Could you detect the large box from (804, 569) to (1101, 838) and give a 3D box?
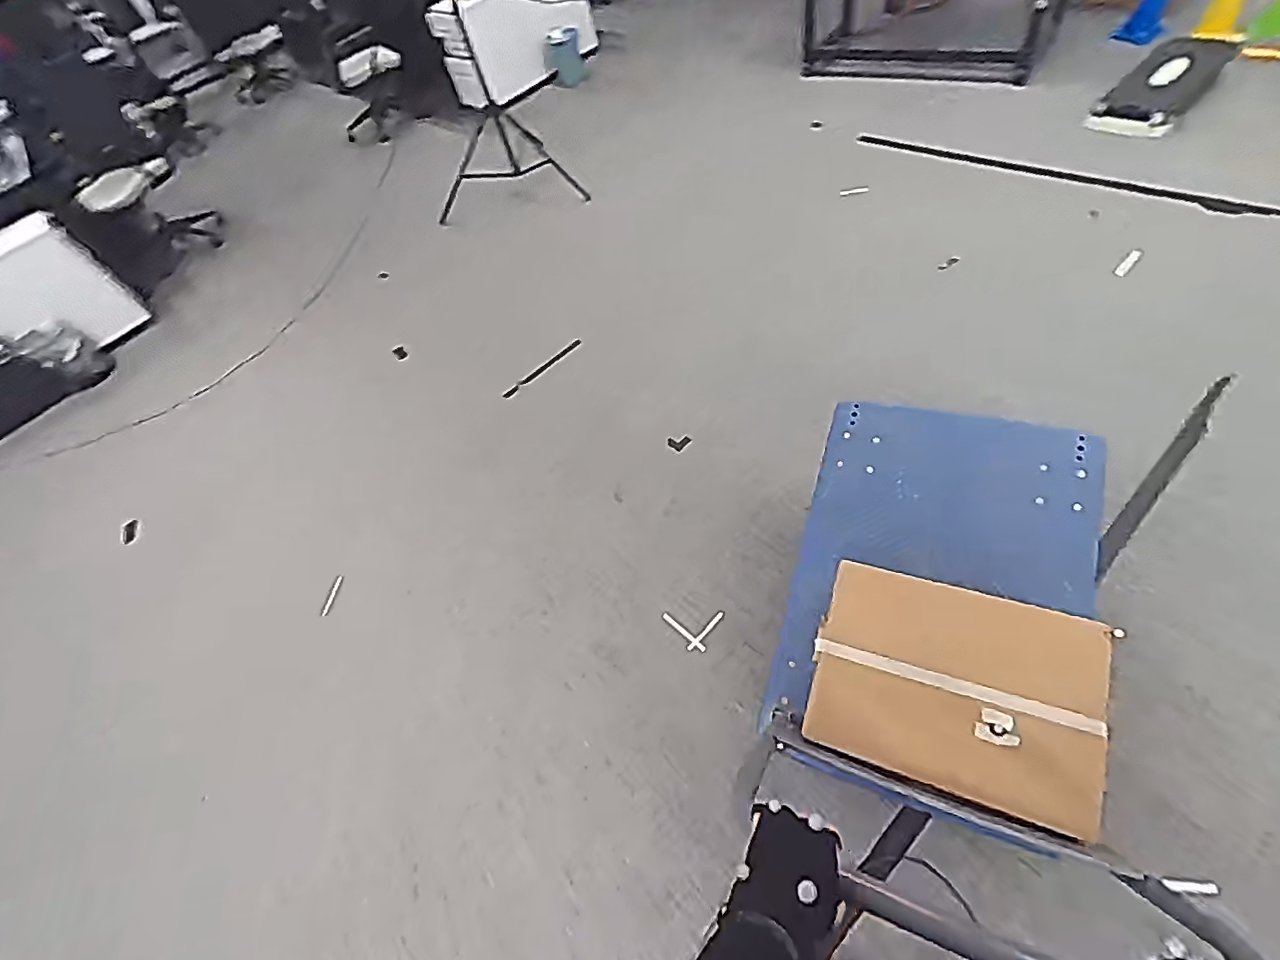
[{"bbox_3d":[0.539,0.389,1.010,0.408,0.320,0.320,12,74,21],"label":"large box"}]
